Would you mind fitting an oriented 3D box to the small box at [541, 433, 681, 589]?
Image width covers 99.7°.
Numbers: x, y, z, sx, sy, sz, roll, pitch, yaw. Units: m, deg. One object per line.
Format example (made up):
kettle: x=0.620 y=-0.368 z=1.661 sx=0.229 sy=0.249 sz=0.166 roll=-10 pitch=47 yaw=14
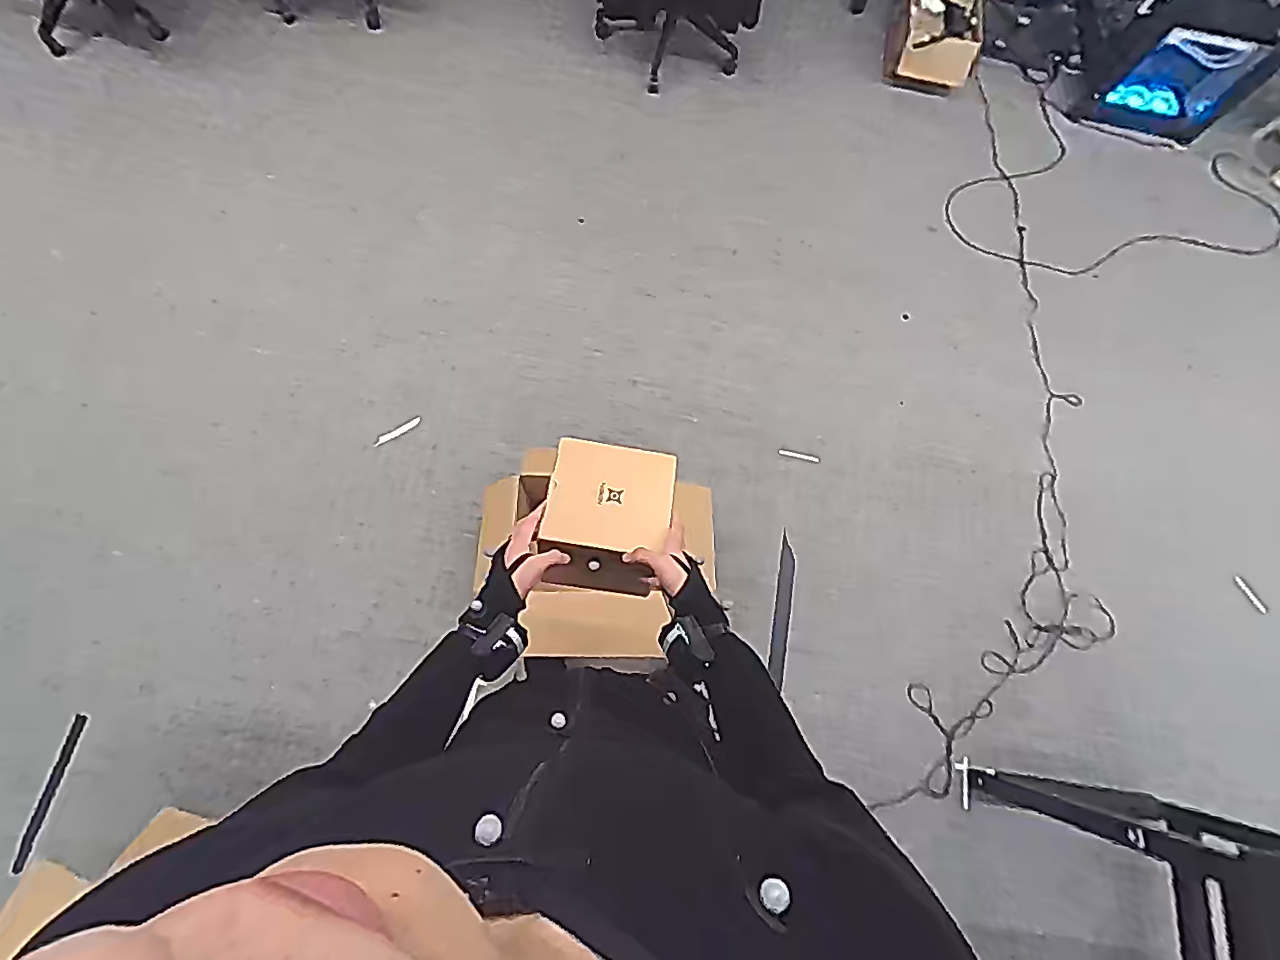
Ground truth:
small box: x=-0.044 y=0.055 z=0.811 sx=0.179 sy=0.176 sz=0.168 roll=9 pitch=60 yaw=-3
